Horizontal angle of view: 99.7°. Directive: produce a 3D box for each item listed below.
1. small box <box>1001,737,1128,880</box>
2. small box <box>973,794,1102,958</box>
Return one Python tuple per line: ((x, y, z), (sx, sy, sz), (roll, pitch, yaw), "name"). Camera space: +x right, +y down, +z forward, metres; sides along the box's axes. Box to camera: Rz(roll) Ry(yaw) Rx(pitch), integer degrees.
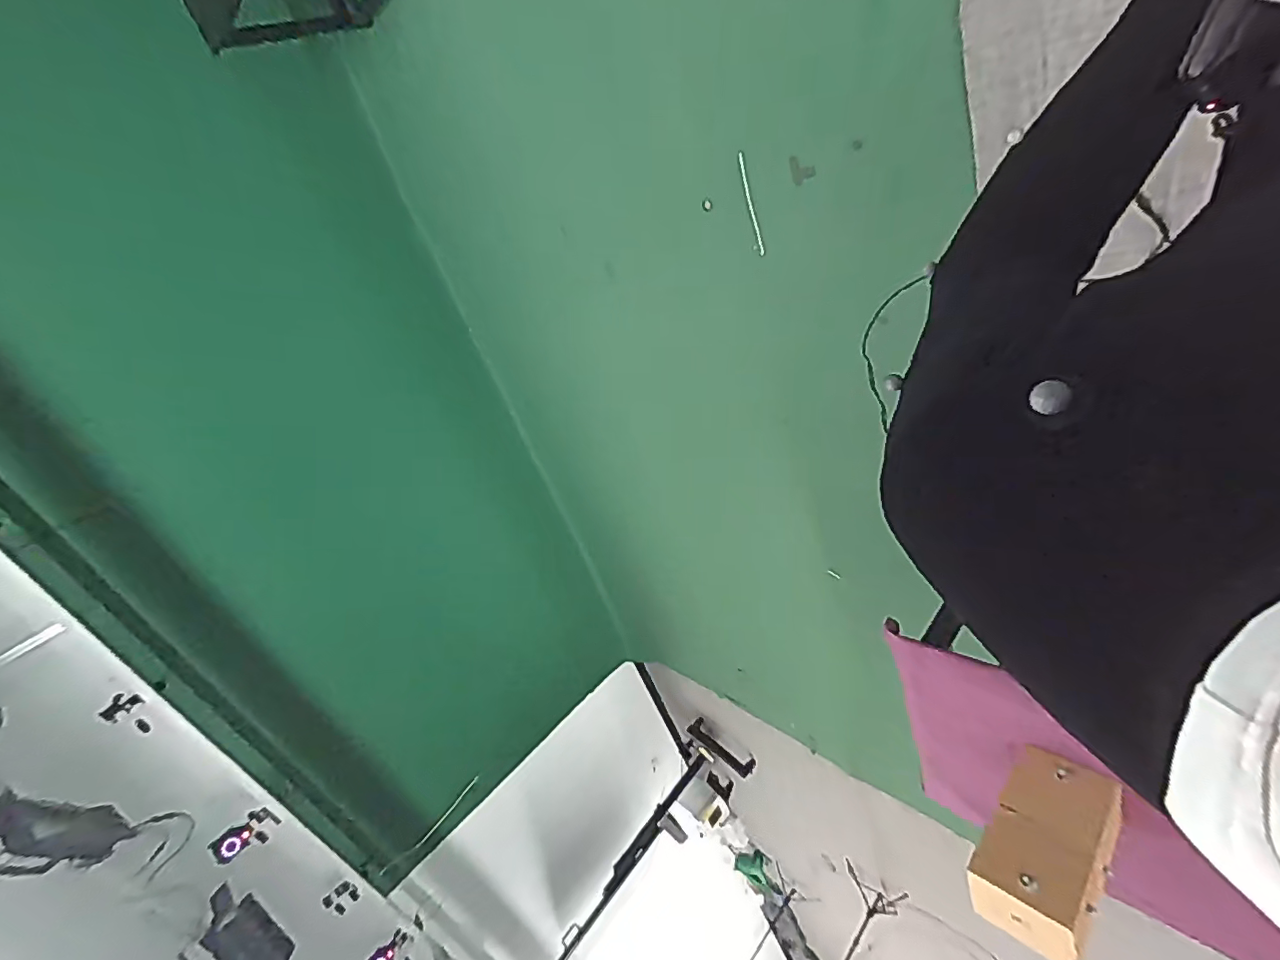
((0.917, 0.696, 1.170), (0.179, 0.176, 0.168), (10, 131, 51), "small box")
((0.805, 0.786, 1.092), (0.179, 0.176, 0.168), (11, 131, 50), "small box")
